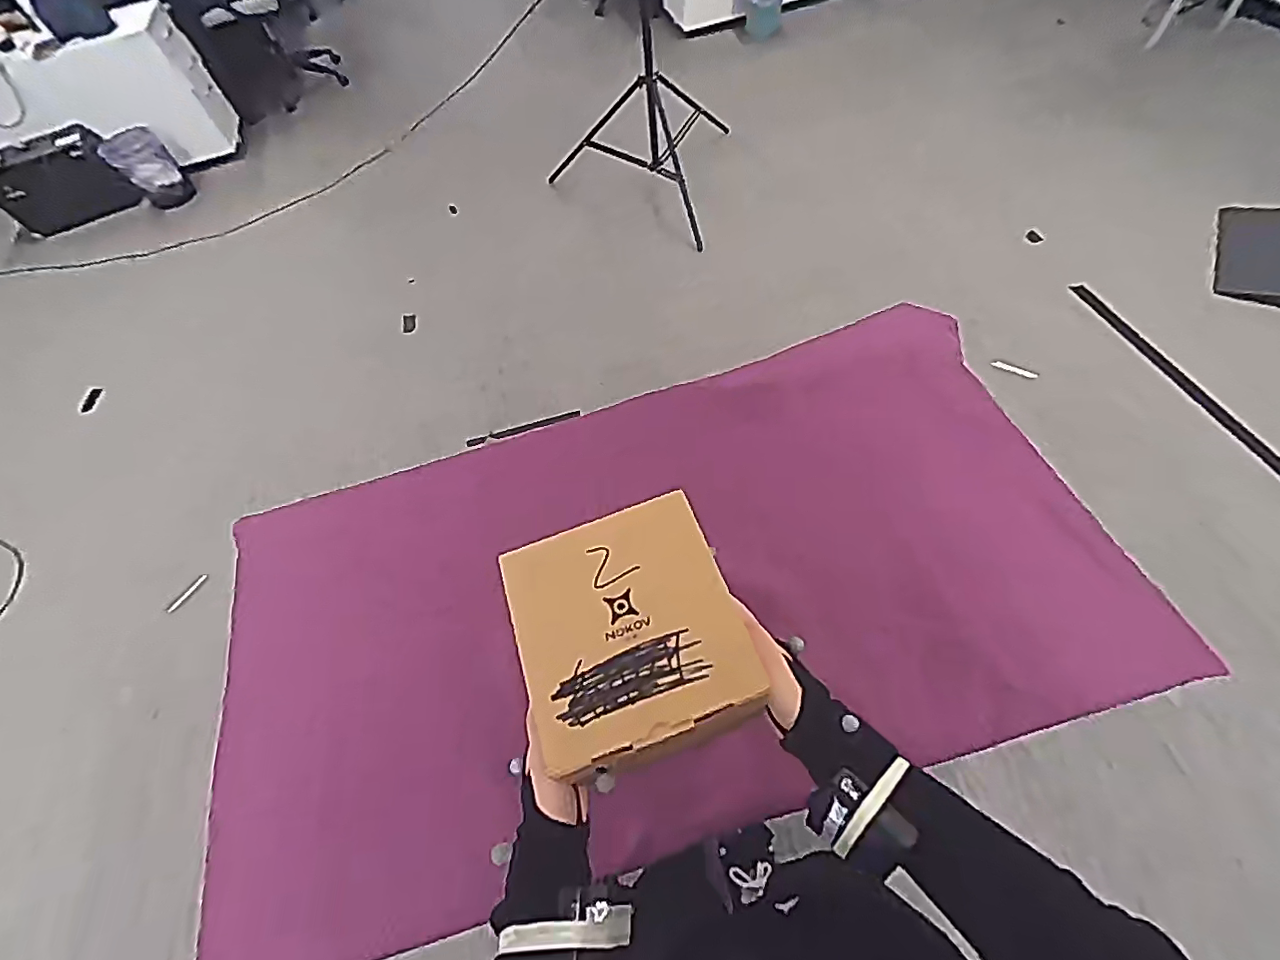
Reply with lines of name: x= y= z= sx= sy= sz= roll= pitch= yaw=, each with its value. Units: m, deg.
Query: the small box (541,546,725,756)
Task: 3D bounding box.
small box: x=-0.007 y=0.206 z=0.639 sx=0.168 sy=0.176 sz=0.179 roll=-16 pitch=59 yaw=-1
